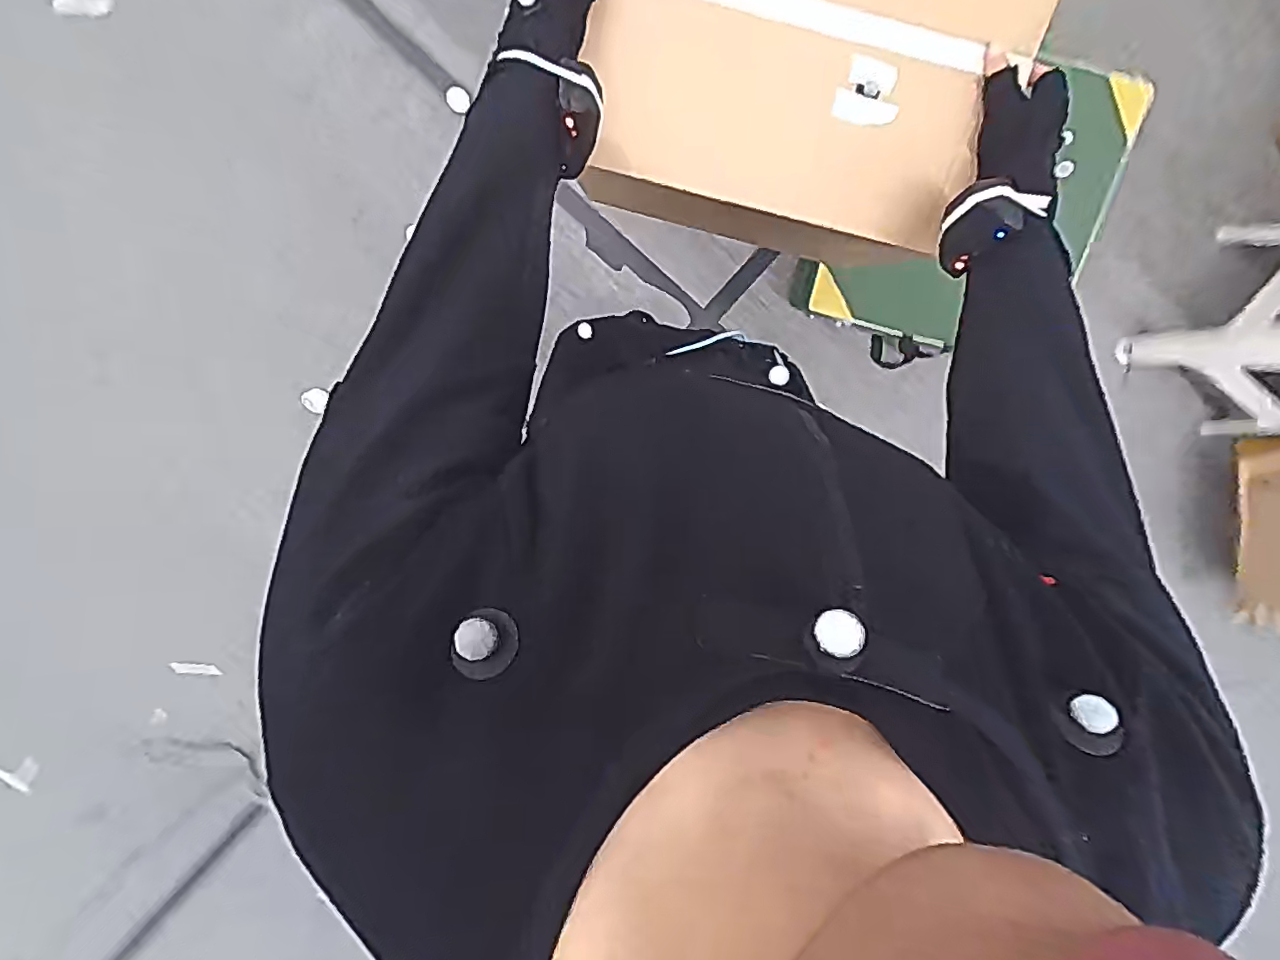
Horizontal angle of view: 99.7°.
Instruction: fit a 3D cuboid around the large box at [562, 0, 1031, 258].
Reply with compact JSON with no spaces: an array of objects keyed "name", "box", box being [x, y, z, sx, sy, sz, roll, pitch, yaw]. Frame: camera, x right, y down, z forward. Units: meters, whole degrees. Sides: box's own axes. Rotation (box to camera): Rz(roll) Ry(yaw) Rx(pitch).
[{"name":"large box","box":[0.141,-0.465,0.630,0.408,0.320,0.320,11,111,-5]}]
